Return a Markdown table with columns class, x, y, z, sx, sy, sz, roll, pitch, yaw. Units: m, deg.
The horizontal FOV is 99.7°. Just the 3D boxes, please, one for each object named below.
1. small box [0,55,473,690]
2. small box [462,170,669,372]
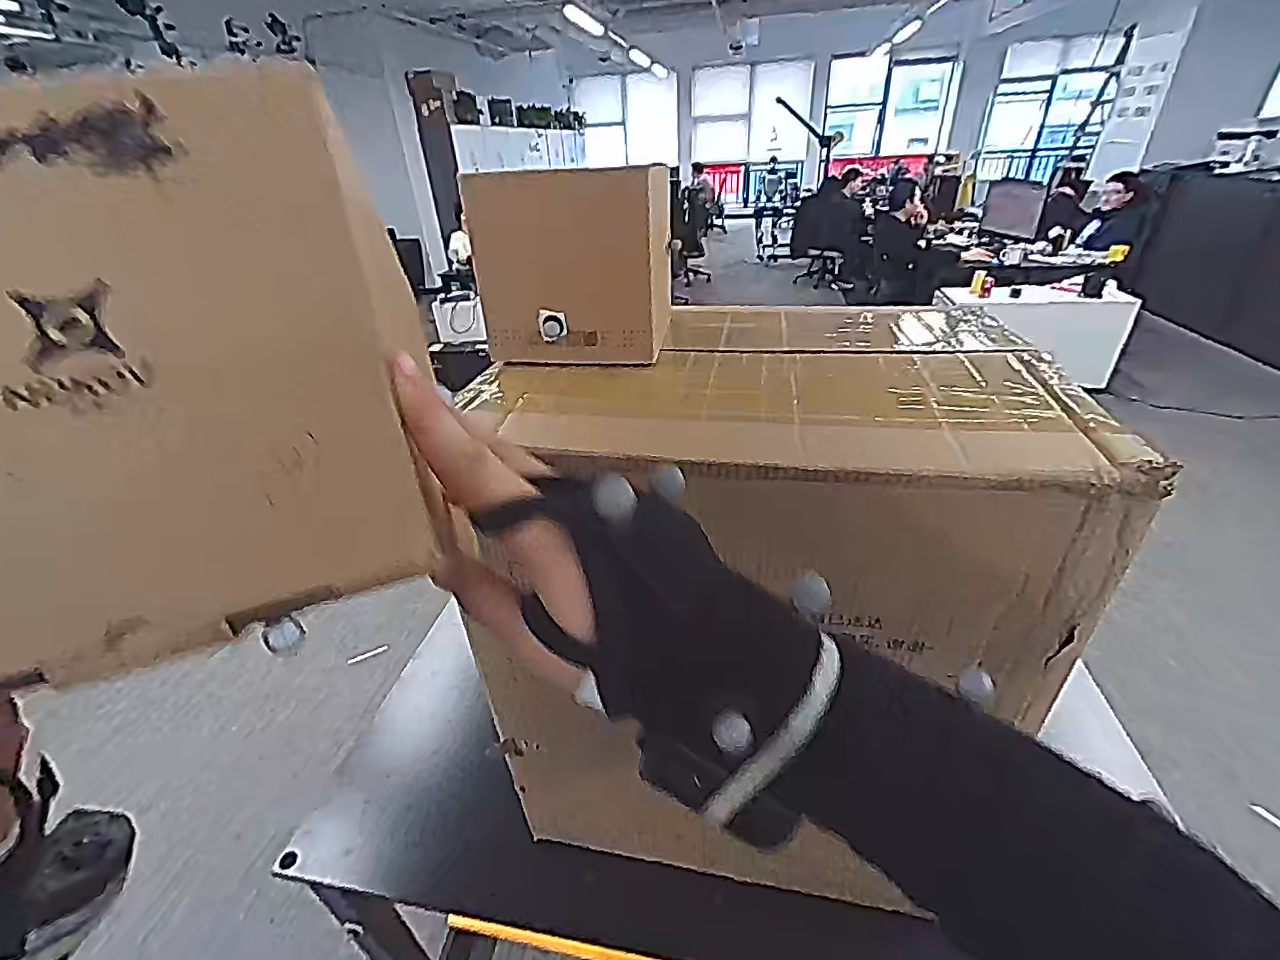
| class | x | y | z | sx | sy | sz | roll | pitch | yaw |
| --- | --- | --- | --- | --- | --- | --- | --- | --- | --- |
| small box | -0.181 | -0.029 | 0.237 | 0.168 | 0.179 | 0.176 | -16 | -3 | -13 |
| small box | -0.059 | -0.219 | 0.559 | 0.168 | 0.176 | 0.179 | 1 | 31 | 8 |
